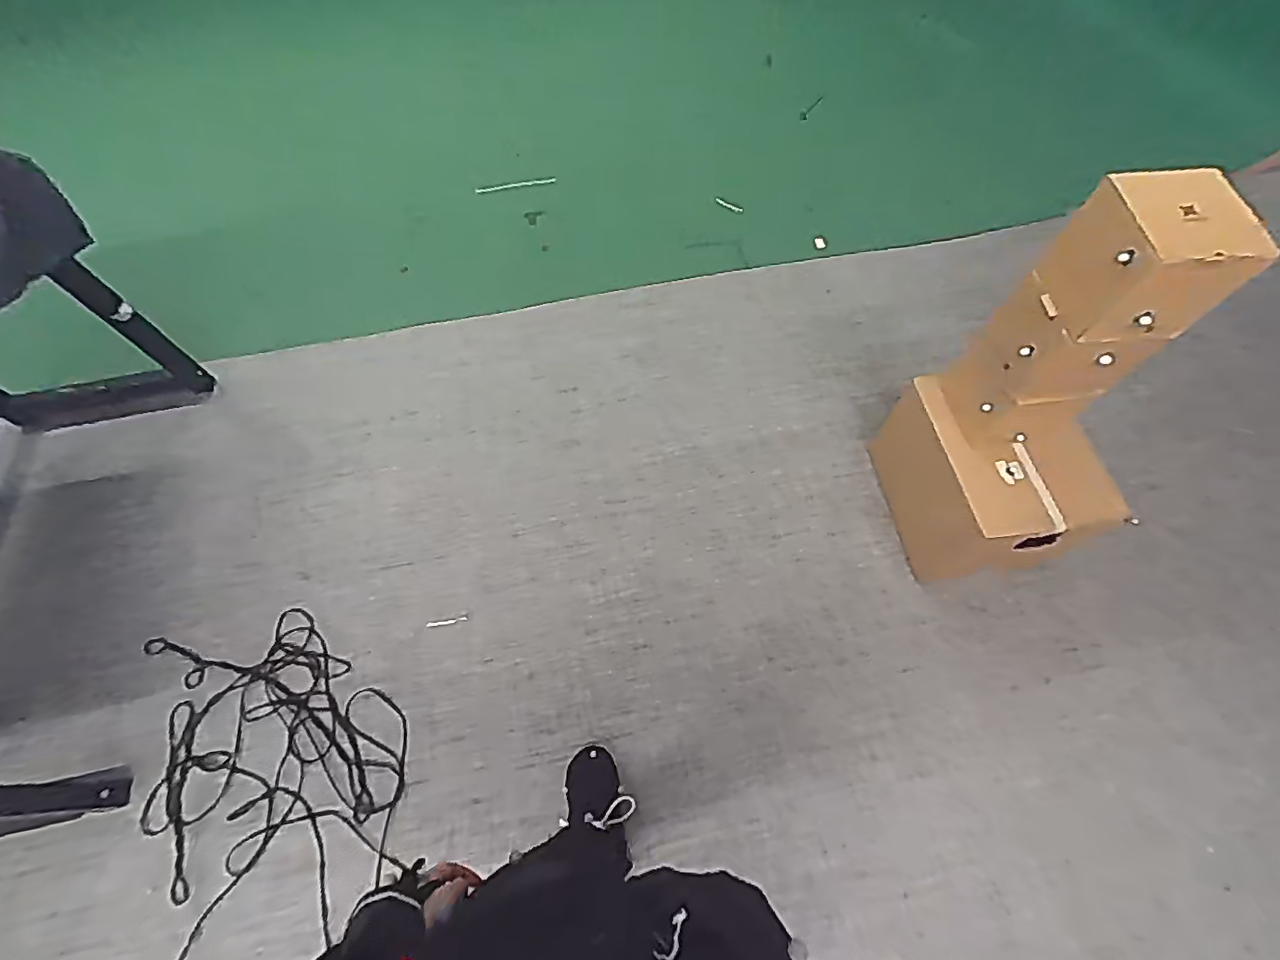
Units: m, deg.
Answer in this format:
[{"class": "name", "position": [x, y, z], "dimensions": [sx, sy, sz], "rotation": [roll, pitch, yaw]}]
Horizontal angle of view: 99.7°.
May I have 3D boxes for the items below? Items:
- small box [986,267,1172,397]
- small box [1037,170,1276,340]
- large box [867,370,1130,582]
[{"class": "small box", "position": [0.761, -0.263, 0.968], "dimensions": [0.179, 0.176, 0.168], "rotation": [-5, 65, -2]}, {"class": "small box", "position": [0.759, -0.337, 0.823], "dimensions": [0.168, 0.176, 0.179], "rotation": [-3, 65, -1]}, {"class": "large box", "position": [0.804, -0.008, 1.293], "dimensions": [0.320, 0.320, 0.408], "rotation": [-8, 64, -1]}]
